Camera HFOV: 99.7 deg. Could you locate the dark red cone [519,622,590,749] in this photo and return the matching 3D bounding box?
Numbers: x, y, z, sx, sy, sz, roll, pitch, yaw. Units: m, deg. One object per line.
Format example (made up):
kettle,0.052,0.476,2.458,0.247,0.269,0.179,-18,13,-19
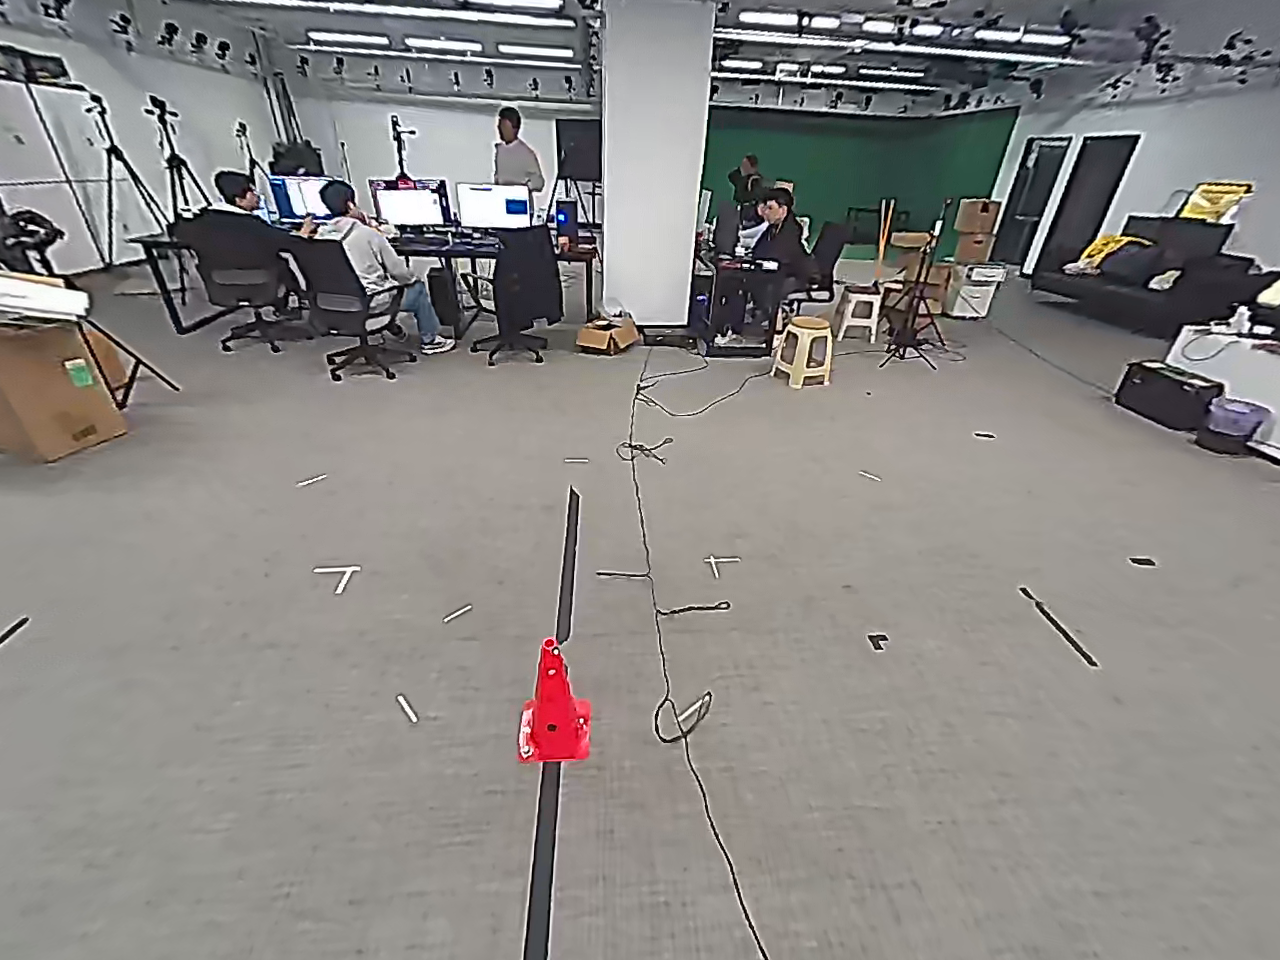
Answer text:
dark red cone,-0.235,0.550,1.485,0.201,0.394,0.202,1,30,-5
